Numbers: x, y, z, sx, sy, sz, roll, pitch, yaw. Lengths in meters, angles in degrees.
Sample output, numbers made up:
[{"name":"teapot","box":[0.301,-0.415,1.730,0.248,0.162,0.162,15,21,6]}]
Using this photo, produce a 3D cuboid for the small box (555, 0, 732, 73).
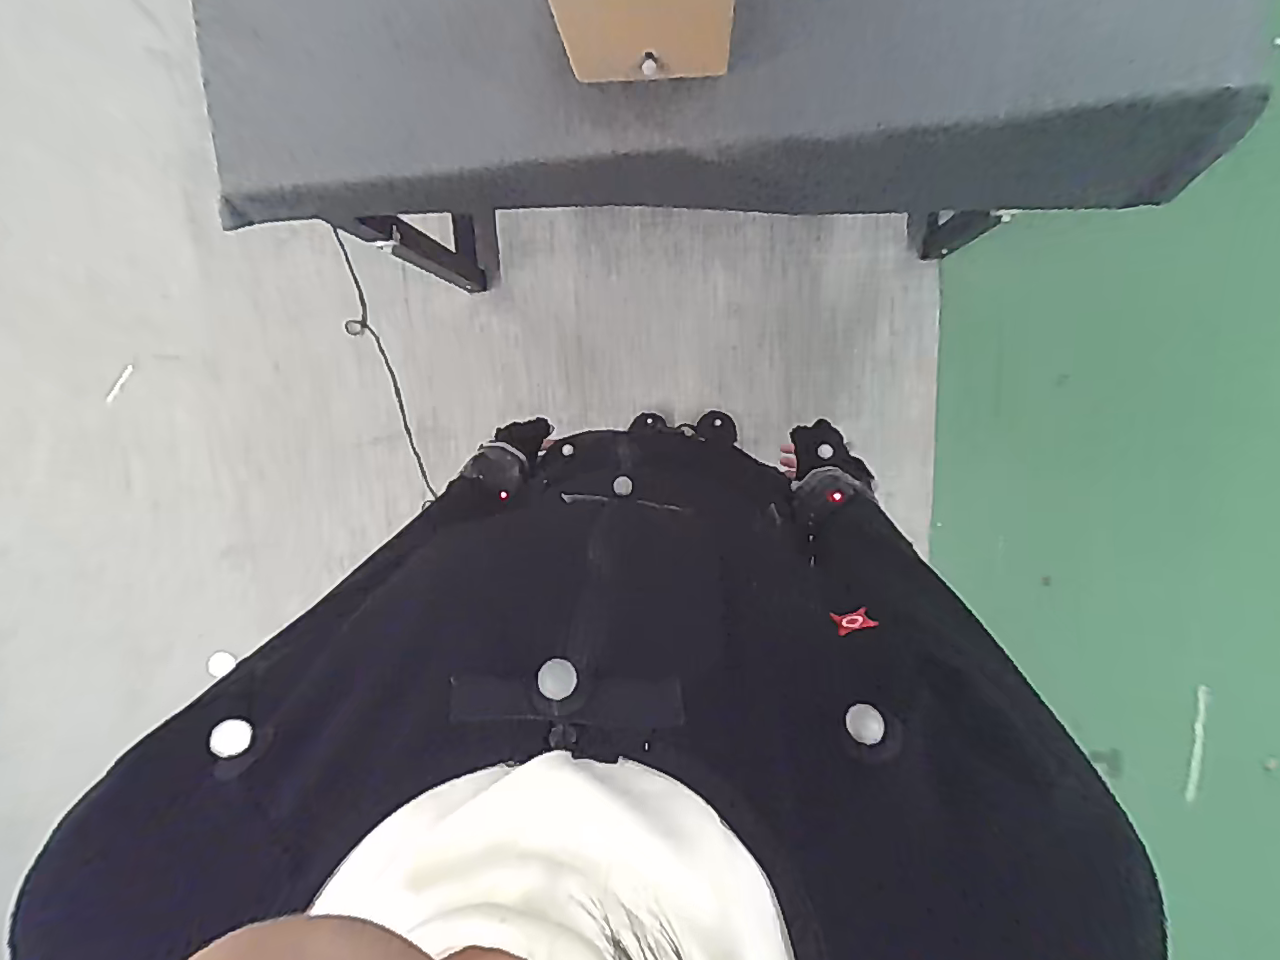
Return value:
[{"name":"small box","box":[0.007,-0.545,0.540,0.179,0.176,0.168,1,97,5]}]
